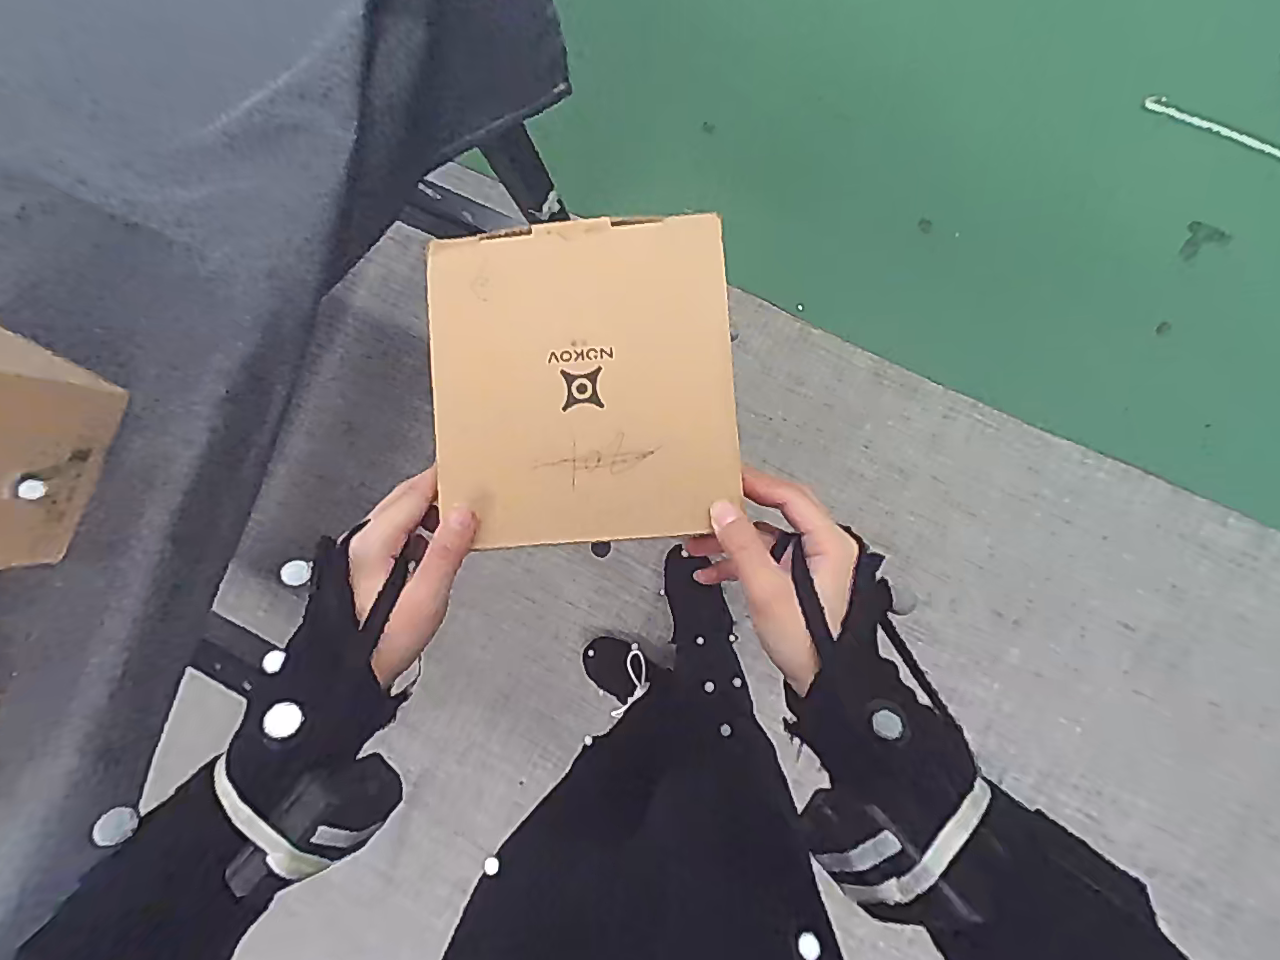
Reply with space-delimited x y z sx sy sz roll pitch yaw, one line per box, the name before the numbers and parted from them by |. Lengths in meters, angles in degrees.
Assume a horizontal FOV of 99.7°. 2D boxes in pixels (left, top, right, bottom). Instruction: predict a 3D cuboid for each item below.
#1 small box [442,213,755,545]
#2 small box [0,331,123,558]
small box | -0.021 -0.051 0.373 0.168 0.176 0.179 -5 87 3
small box | -0.562 -0.038 0.399 0.179 0.176 0.168 25 92 6
